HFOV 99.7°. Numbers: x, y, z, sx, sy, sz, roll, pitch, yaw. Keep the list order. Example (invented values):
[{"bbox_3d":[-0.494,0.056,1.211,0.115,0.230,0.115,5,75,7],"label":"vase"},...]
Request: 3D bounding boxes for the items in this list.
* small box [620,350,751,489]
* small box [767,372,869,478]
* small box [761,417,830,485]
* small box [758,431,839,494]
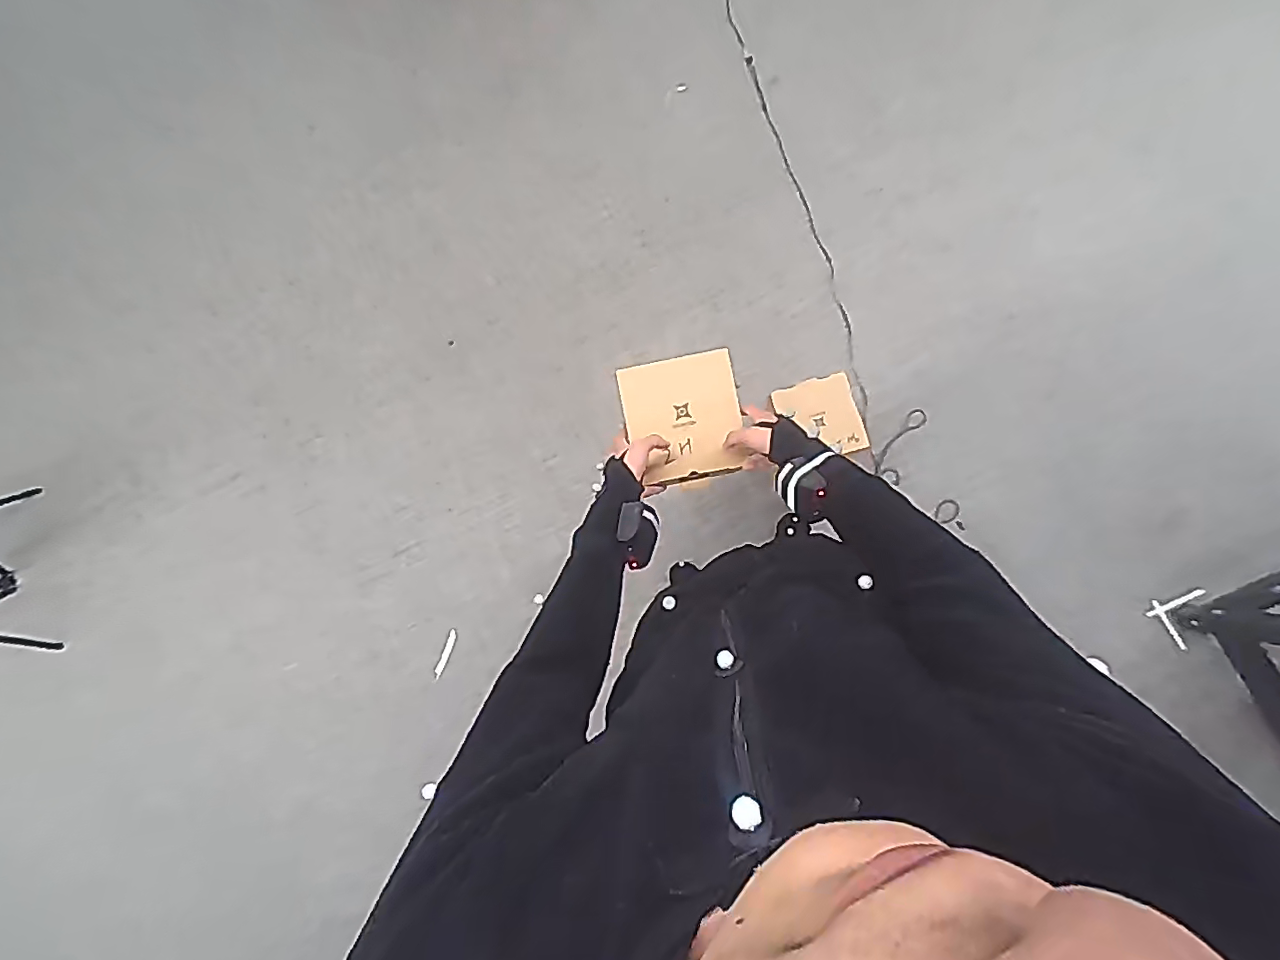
[{"bbox_3d":[0.067,-0.086,0.853,0.168,0.176,0.179,-11,87,3],"label":"small box"},{"bbox_3d":[0.394,-0.118,1.230,0.168,0.176,0.179,-16,79,7],"label":"small box"},{"bbox_3d":[0.422,-0.097,1.391,0.179,0.176,0.168,-23,79,6],"label":"small box"},{"bbox_3d":[0.447,-0.075,1.550,0.168,0.176,0.179,-25,79,6],"label":"small box"}]
